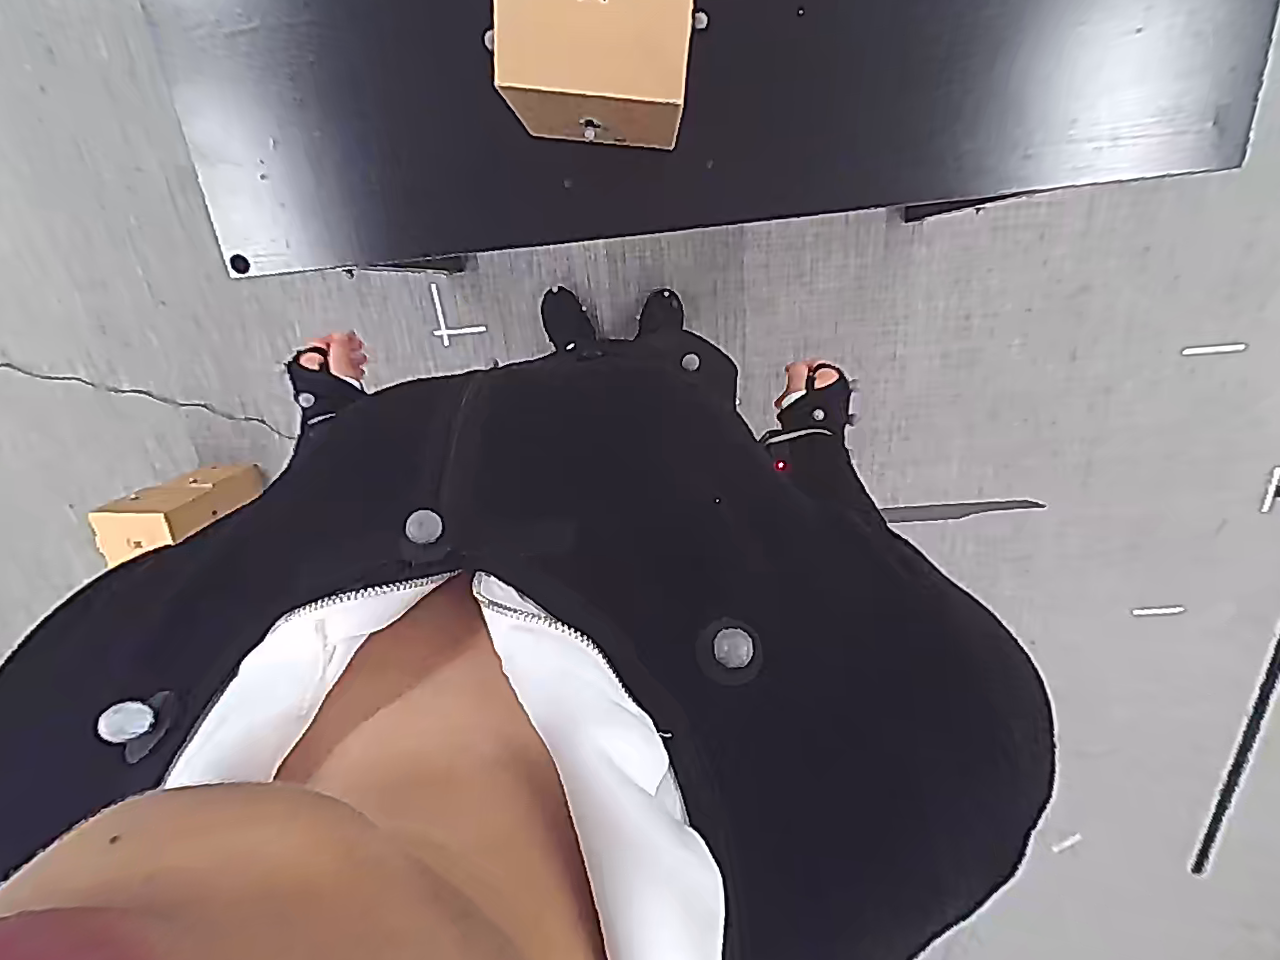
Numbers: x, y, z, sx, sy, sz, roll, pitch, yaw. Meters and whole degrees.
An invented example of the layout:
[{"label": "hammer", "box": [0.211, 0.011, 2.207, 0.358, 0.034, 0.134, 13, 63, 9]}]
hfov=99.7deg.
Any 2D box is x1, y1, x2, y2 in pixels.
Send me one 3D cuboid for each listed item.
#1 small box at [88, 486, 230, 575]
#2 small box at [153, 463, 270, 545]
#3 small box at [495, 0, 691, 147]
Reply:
[{"label": "small box", "box": [-1.162, 0.119, 1.322, 0.179, 0.176, 0.168, 0, 111, -1]}, {"label": "small box", "box": [-1.159, 0.067, 1.477, 0.168, 0.176, 0.179, -4, 111, 2]}, {"label": "small box", "box": [-0.036, -0.442, 0.519, 0.168, 0.176, 0.179, 5, 109, -2]}]
